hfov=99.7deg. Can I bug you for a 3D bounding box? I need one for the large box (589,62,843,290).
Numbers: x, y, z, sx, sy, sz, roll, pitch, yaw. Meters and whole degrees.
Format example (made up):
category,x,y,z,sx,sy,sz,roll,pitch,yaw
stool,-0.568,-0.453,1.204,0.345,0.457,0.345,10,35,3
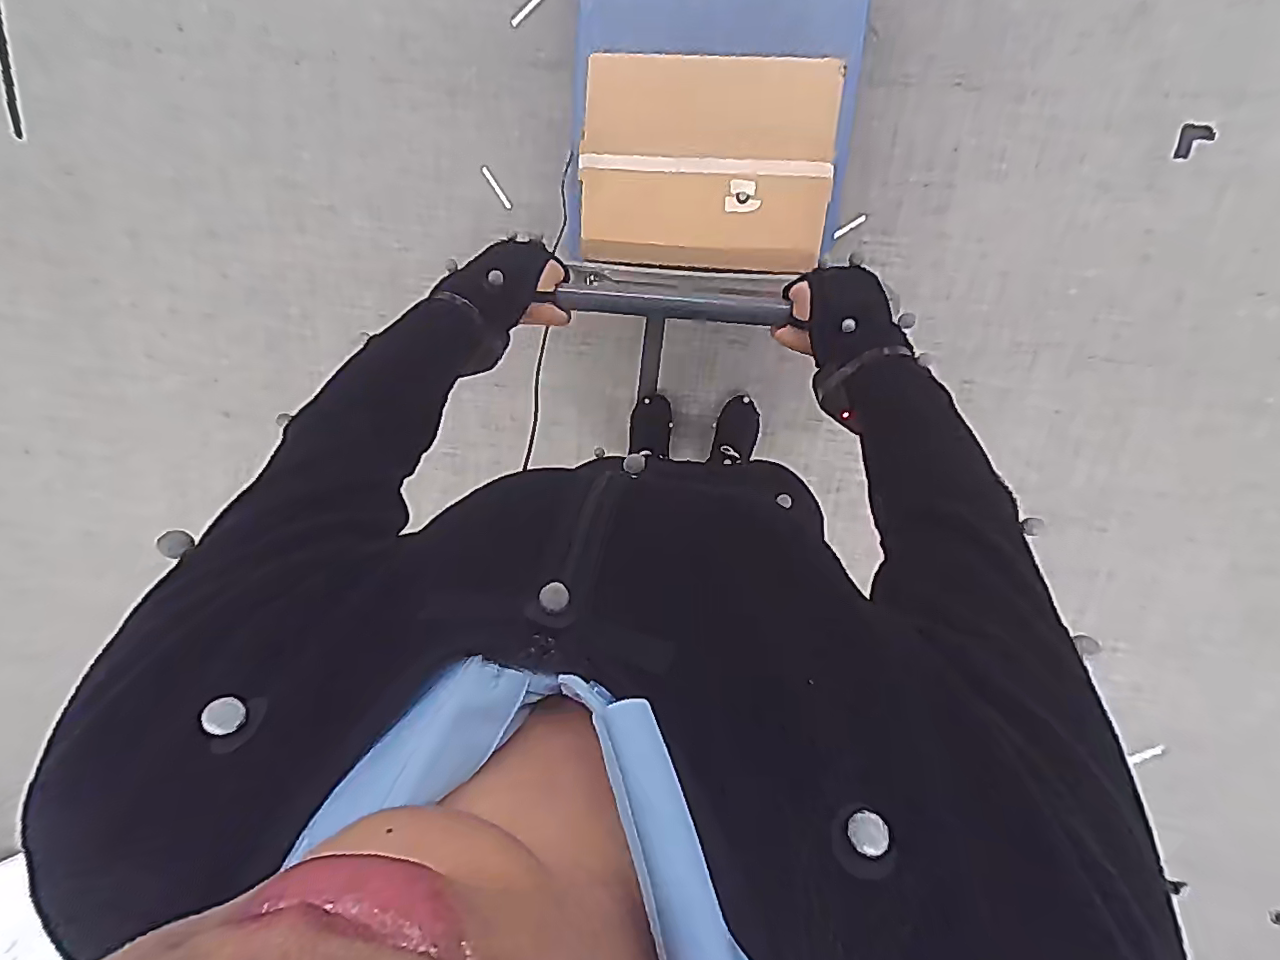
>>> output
category,x,y,z,sx,sy,sz,roll,pitch,yaw
large box,0.127,-0.550,1.042,0.408,0.320,0.320,5,105,5
